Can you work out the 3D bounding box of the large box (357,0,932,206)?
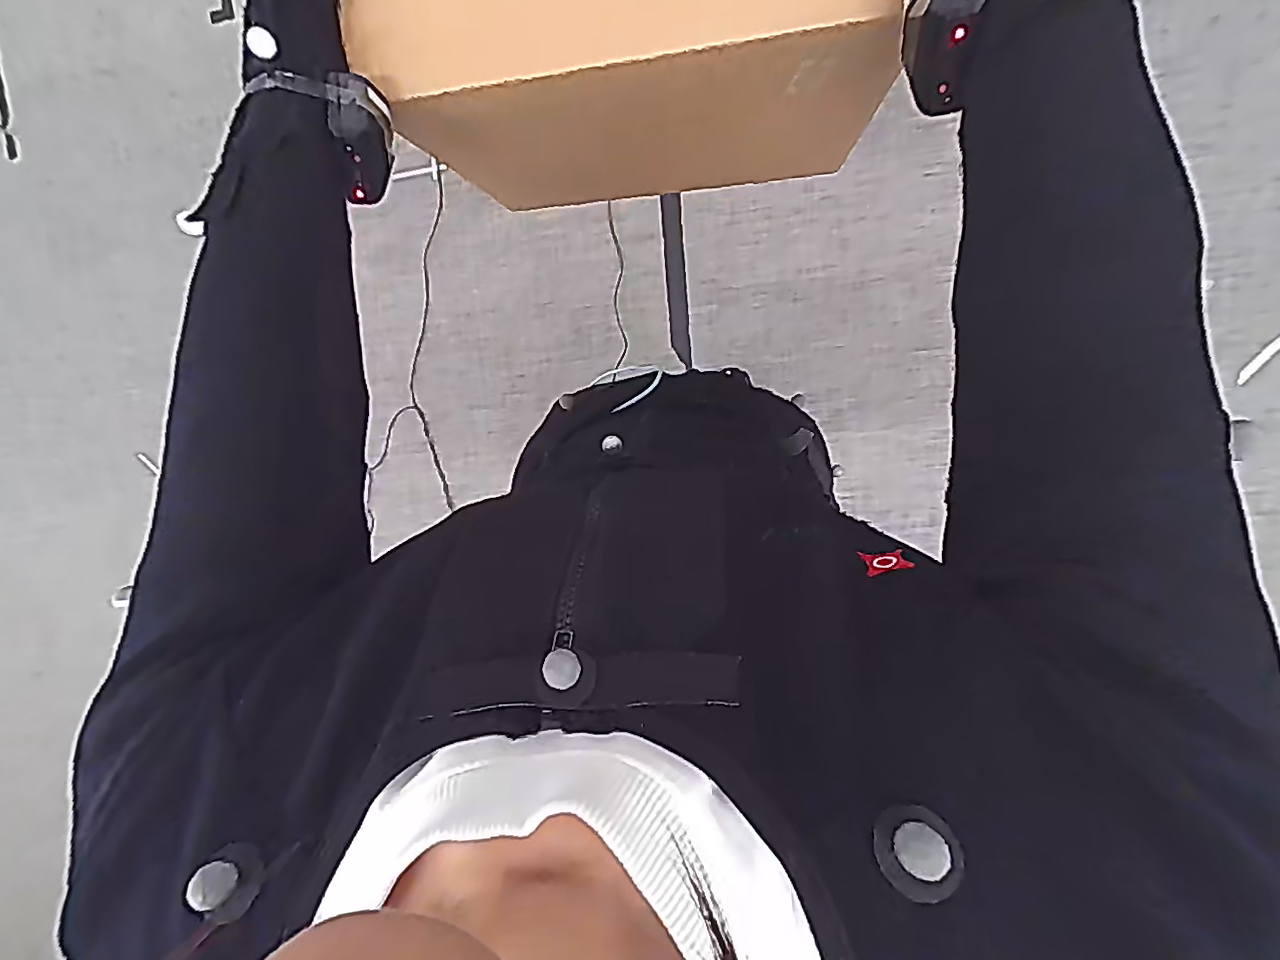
[{"bbox_3d":[0.002,-0.475,0.486,0.408,0.320,0.320,-3,103,8],"label":"large box"}]
